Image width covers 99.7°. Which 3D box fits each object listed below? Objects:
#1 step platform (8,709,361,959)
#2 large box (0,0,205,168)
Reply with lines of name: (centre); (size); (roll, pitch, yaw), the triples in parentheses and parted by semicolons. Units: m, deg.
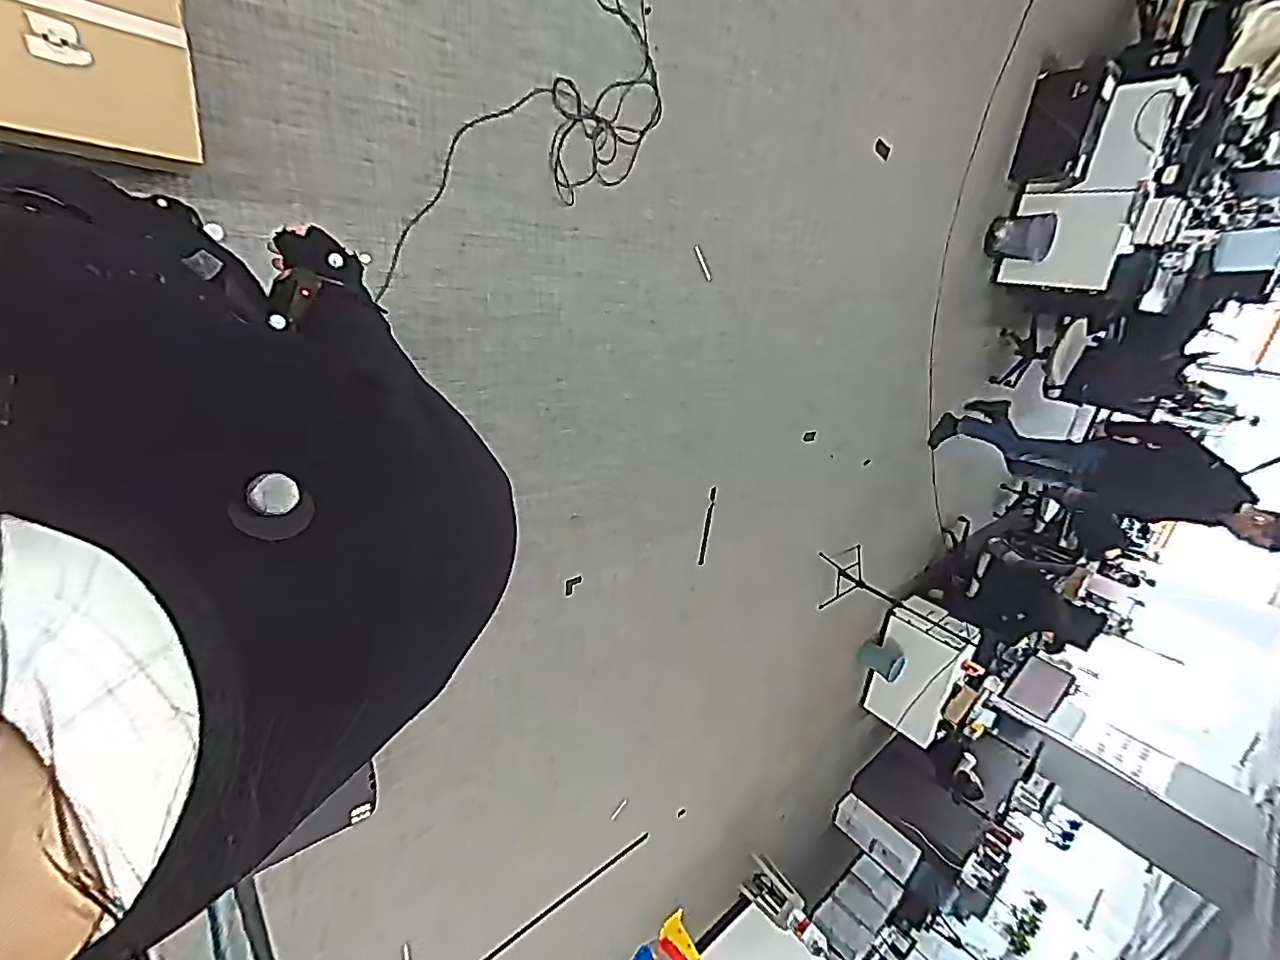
step platform: (-1.107, 0.886, 1.398); (0.684, 0.204, 0.286); (-13, 118, -36)
large box: (-0.893, -0.658, 0.751); (0.408, 0.320, 0.320); (-10, 117, -40)
